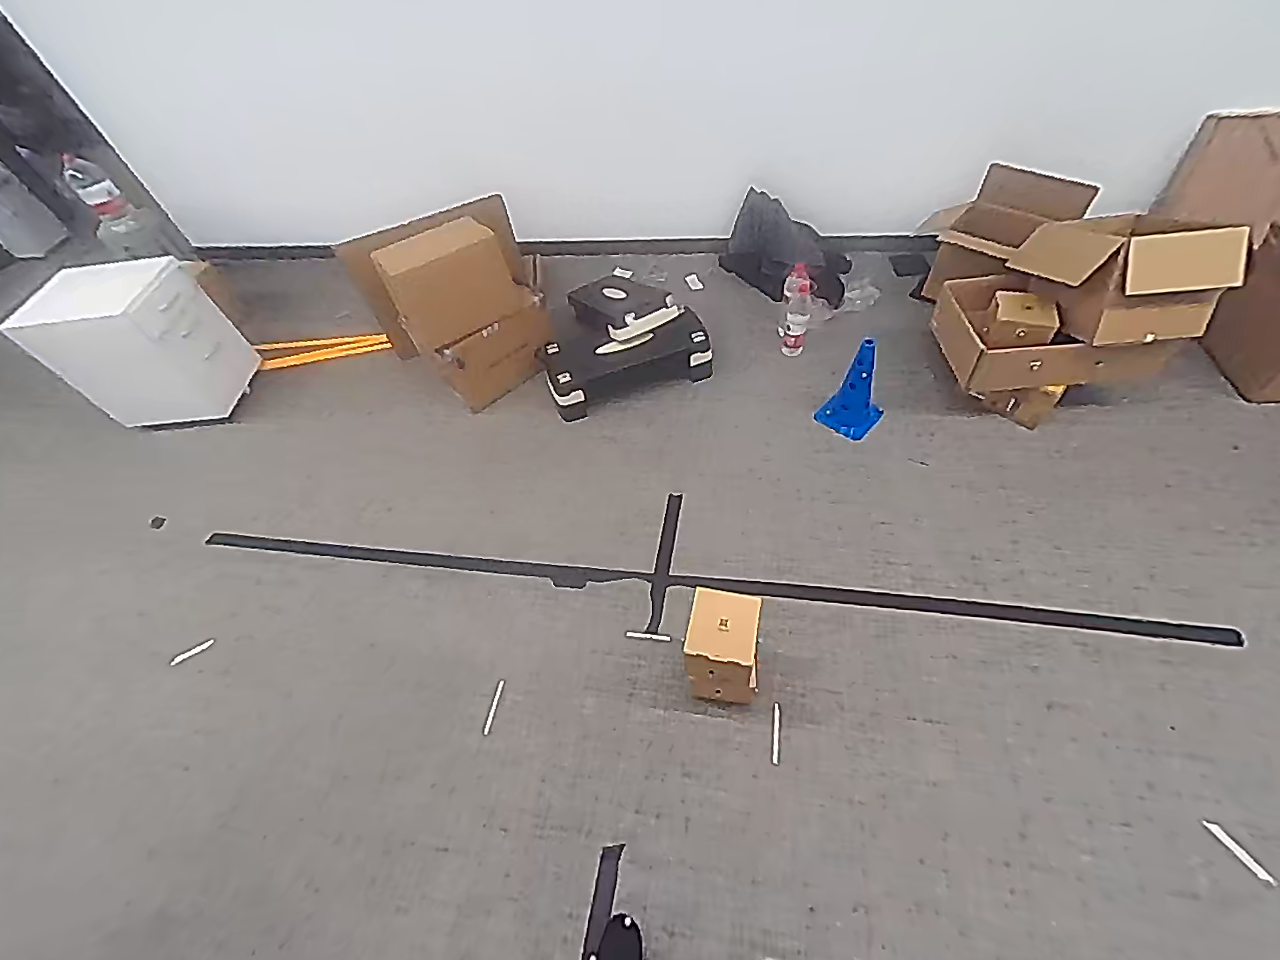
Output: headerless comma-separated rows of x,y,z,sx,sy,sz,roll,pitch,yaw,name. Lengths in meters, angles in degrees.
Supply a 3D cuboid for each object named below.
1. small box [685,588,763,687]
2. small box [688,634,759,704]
0.213,0.403,1.377,0.168,0.176,0.179,8,56,13,small box
0.232,0.509,1.499,0.179,0.176,0.168,3,54,11,small box
